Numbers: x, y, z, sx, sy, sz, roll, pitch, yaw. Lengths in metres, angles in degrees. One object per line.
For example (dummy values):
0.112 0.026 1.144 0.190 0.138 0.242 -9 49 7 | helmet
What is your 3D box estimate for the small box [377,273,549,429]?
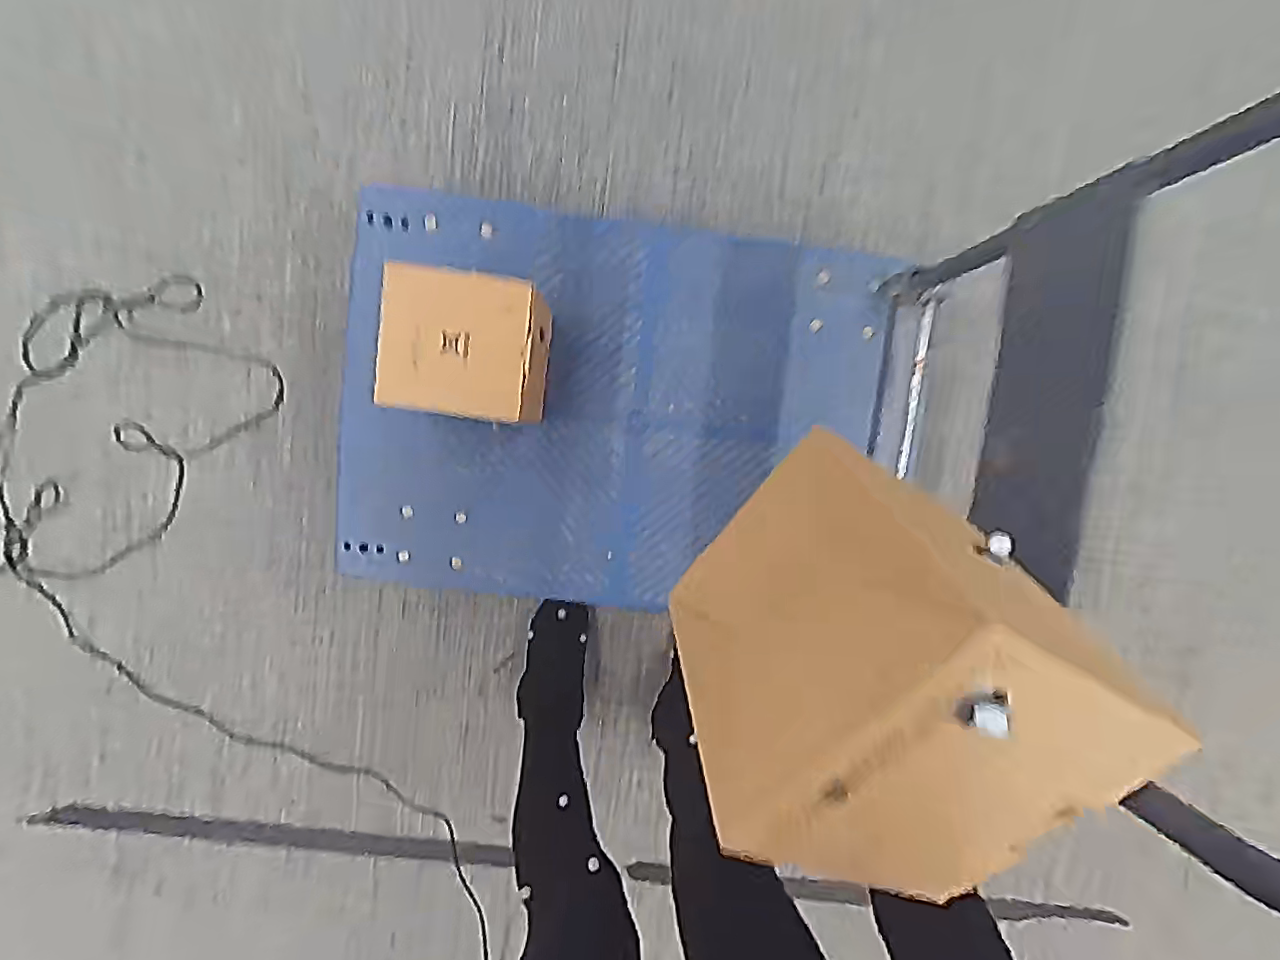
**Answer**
-0.224 -0.161 0.728 0.179 0.176 0.168 7 94 -2 | small box
